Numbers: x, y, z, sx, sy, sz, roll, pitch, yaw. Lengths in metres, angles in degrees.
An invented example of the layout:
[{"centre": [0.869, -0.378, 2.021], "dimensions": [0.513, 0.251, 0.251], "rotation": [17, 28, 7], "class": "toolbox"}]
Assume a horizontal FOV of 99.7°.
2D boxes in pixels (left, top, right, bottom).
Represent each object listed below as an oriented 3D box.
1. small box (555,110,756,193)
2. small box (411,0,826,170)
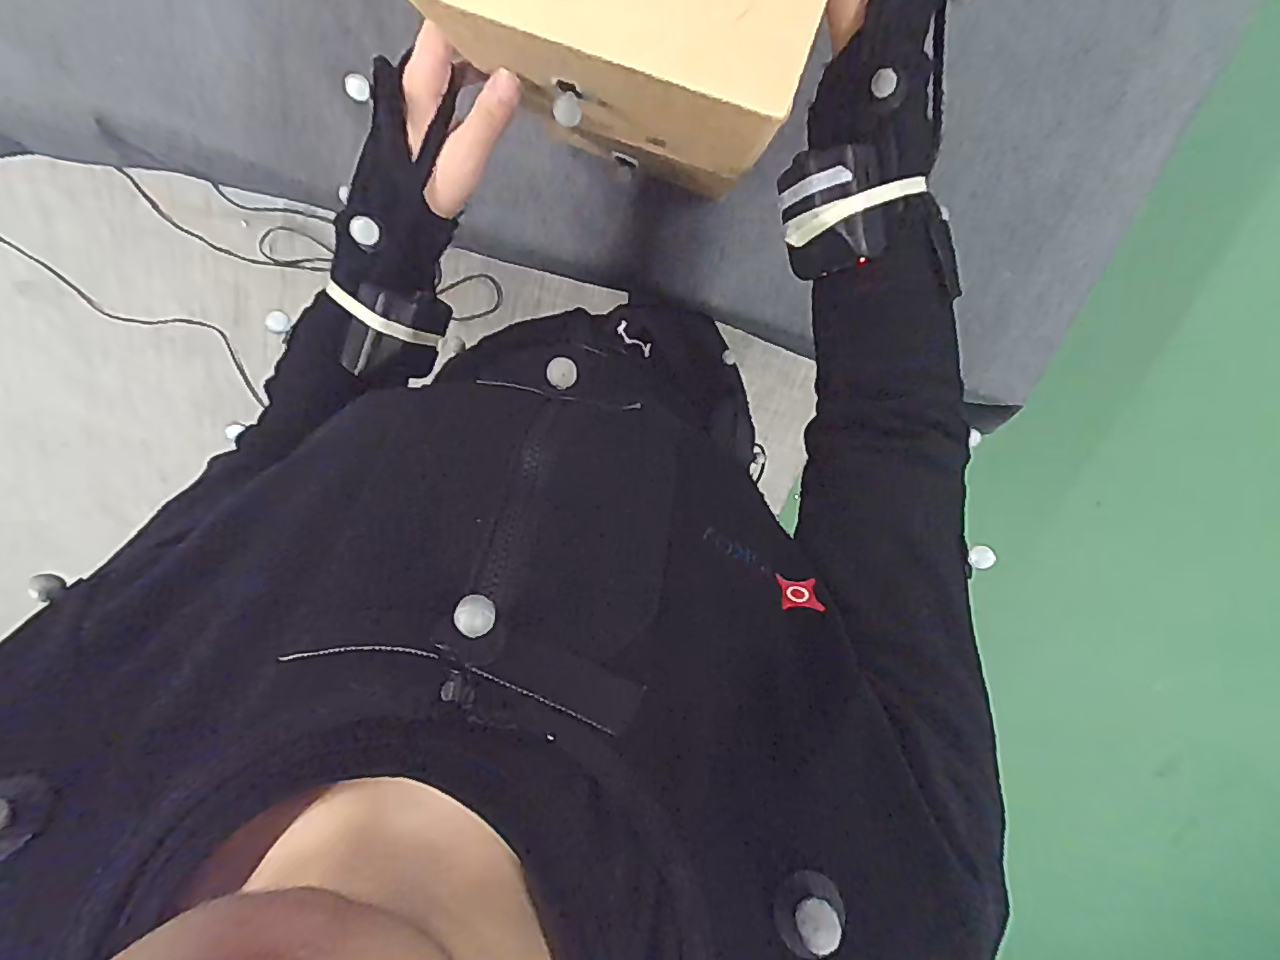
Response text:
[{"centre": [0.028, -0.338, 0.400], "dimensions": [0.168, 0.176, 0.179], "rotation": [18, 113, -3], "class": "small box"}, {"centre": [0.013, -0.271, 0.252], "dimensions": [0.168, 0.176, 0.179], "rotation": [17, 111, -3], "class": "small box"}]
